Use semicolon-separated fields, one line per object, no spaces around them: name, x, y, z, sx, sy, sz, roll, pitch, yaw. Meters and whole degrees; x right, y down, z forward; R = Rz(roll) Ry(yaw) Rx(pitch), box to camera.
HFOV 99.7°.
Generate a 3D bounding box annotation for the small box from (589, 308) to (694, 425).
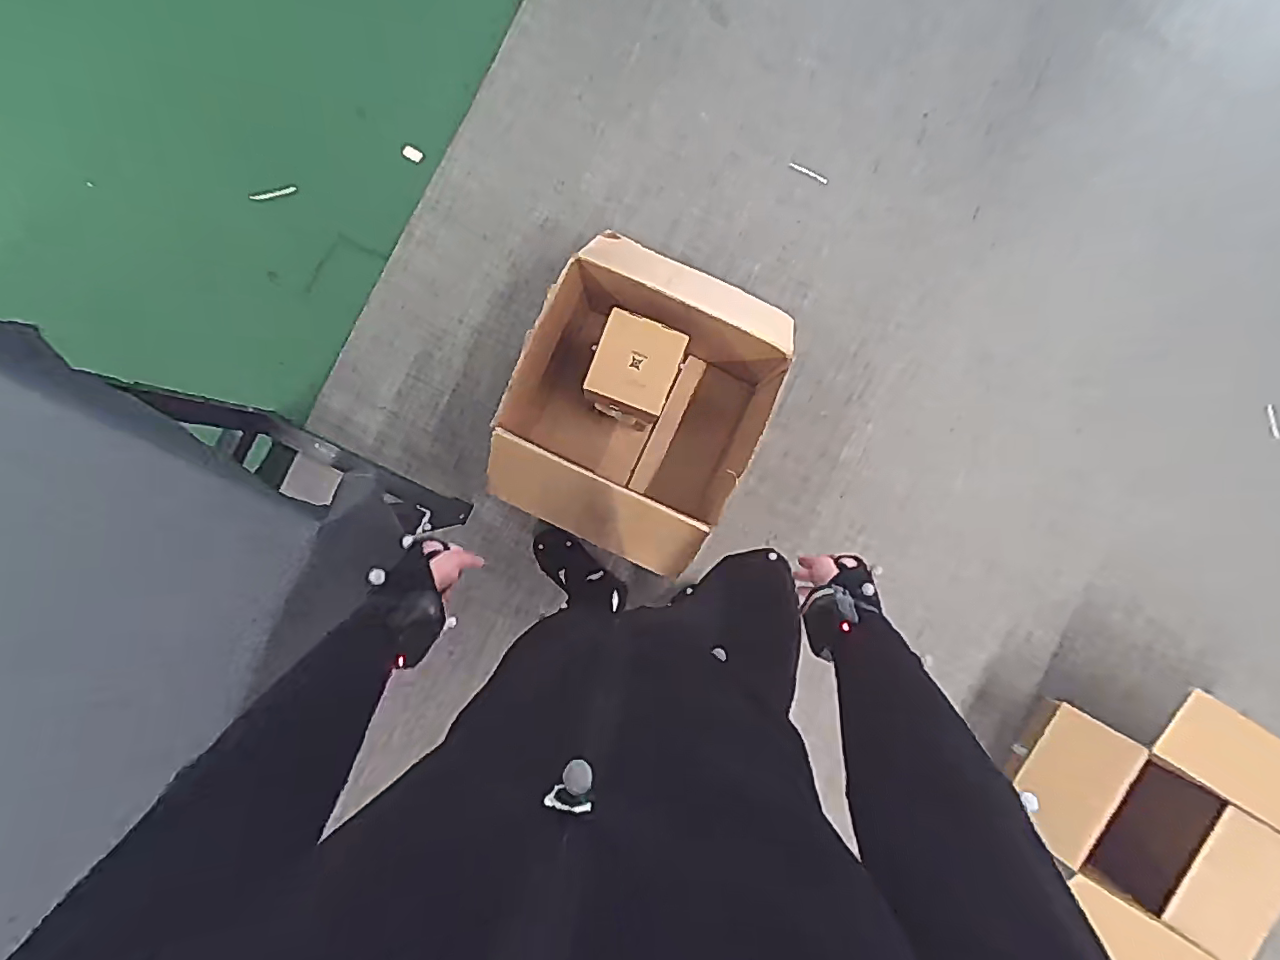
small box;-0.003;-0.231;1.149;0.168;0.176;0.179;21;89;-3
